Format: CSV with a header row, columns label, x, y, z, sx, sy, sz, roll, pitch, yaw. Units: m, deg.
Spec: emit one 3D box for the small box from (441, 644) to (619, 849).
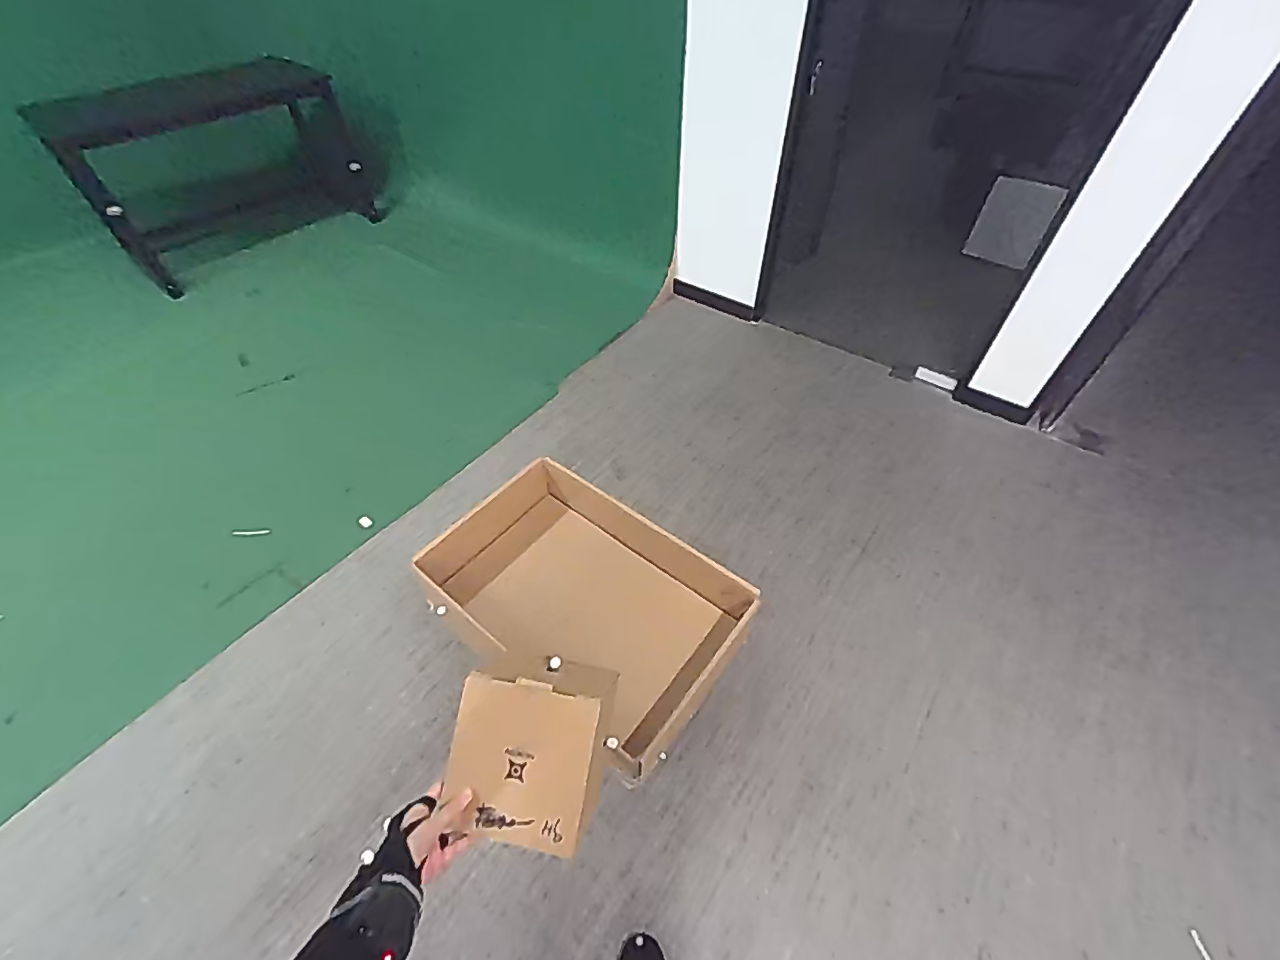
label,x,y,z,sx,sy,sz,roll,pitch,yaw
small box,-0.127,0.323,0.698,0.168,0.176,0.179,11,83,6
